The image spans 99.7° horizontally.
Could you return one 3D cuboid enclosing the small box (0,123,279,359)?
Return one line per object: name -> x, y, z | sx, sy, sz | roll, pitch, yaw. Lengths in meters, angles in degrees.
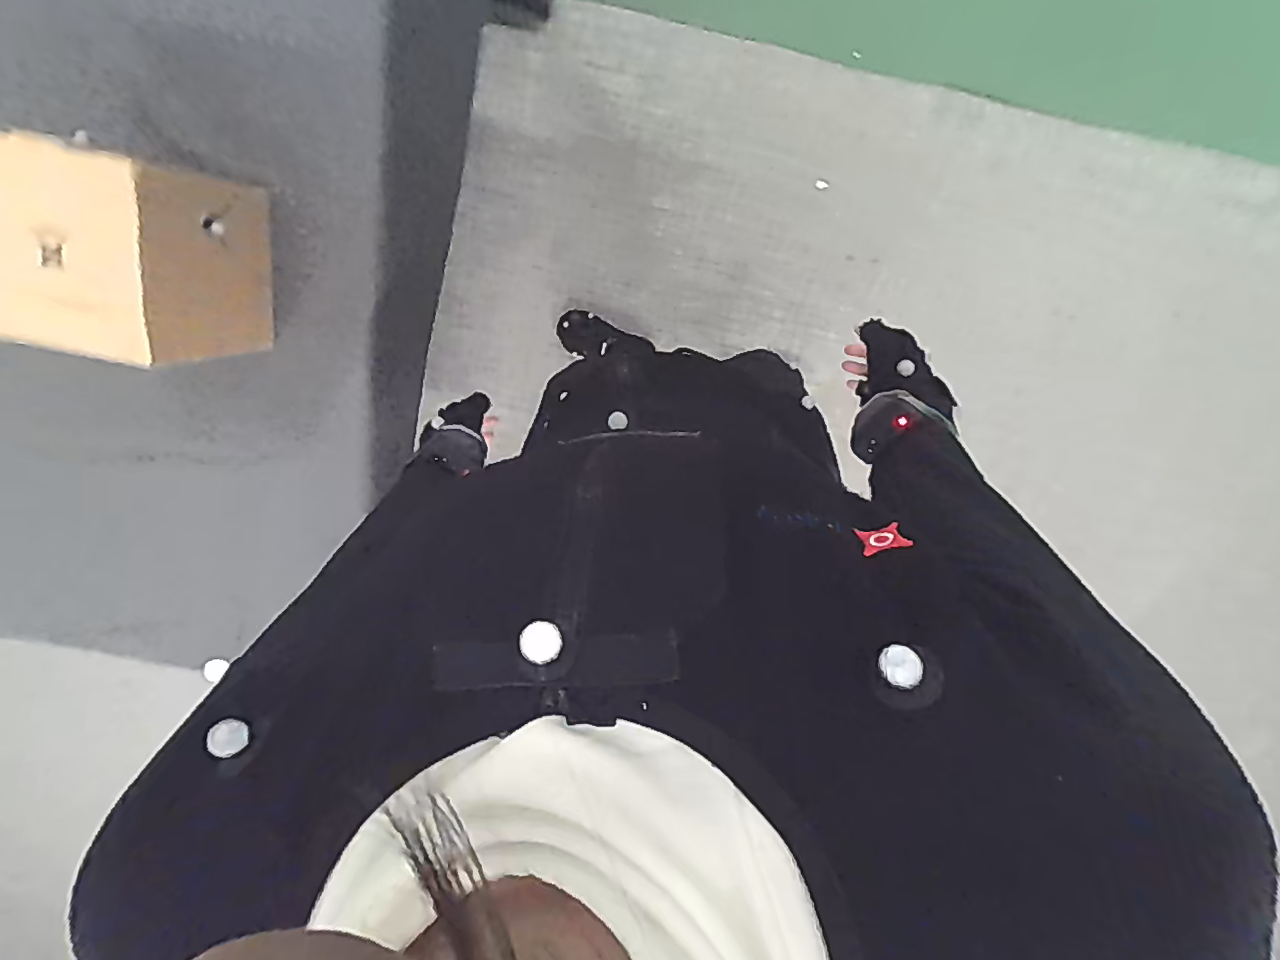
small box -> -0.507, -0.236, 0.554 | 0.168, 0.176, 0.179 | 11, 111, 0
